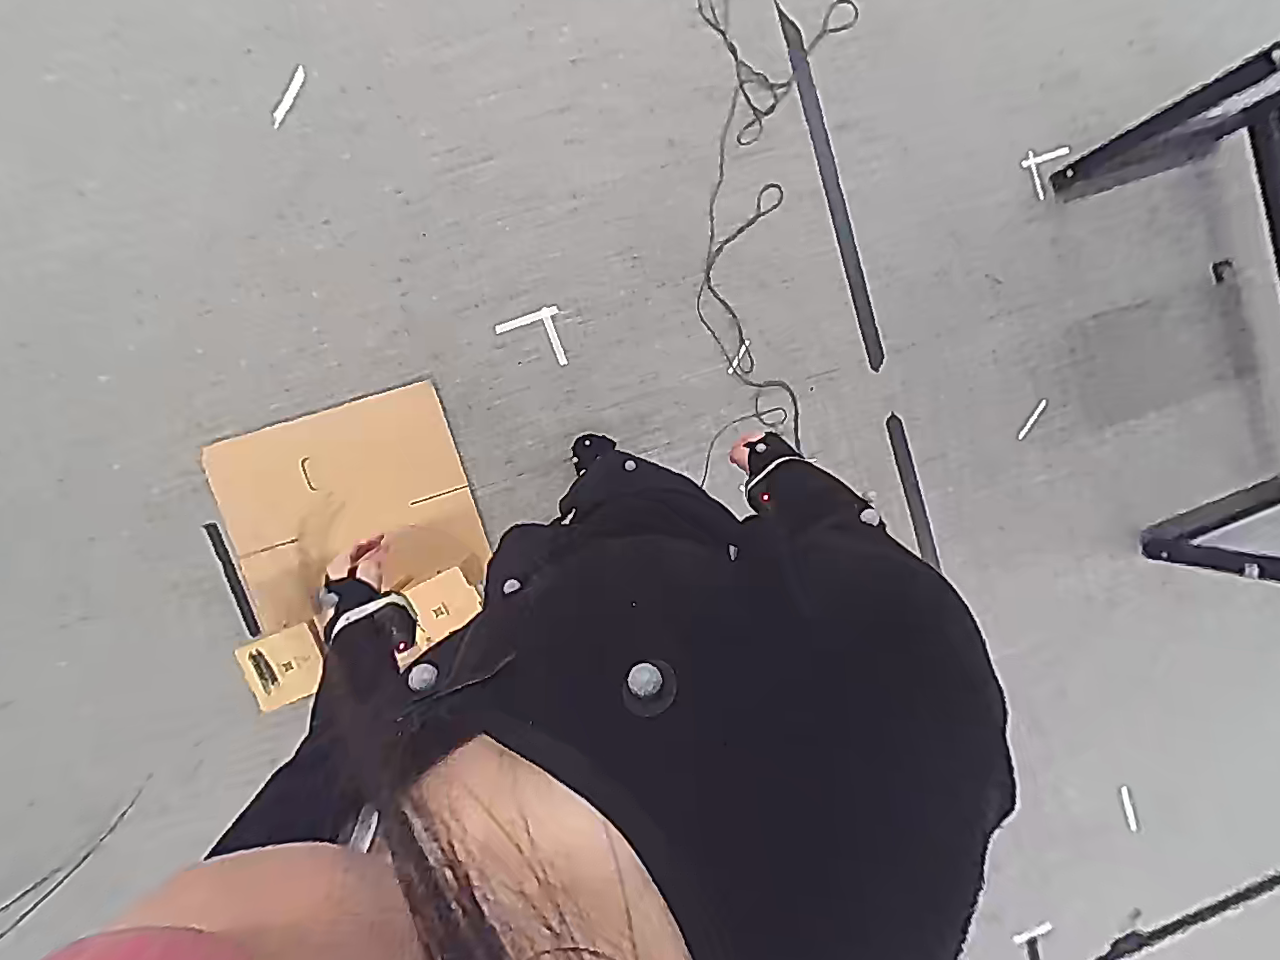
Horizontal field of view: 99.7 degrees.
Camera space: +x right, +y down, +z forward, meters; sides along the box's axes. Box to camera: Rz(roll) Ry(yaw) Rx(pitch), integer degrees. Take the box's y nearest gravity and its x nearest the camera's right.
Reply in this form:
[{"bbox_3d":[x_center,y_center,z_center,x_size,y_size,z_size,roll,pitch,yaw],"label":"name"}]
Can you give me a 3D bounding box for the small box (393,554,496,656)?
[{"bbox_3d":[-0.477,0.303,1.355,0.179,0.176,0.168,-28,96,-5],"label":"small box"}]
